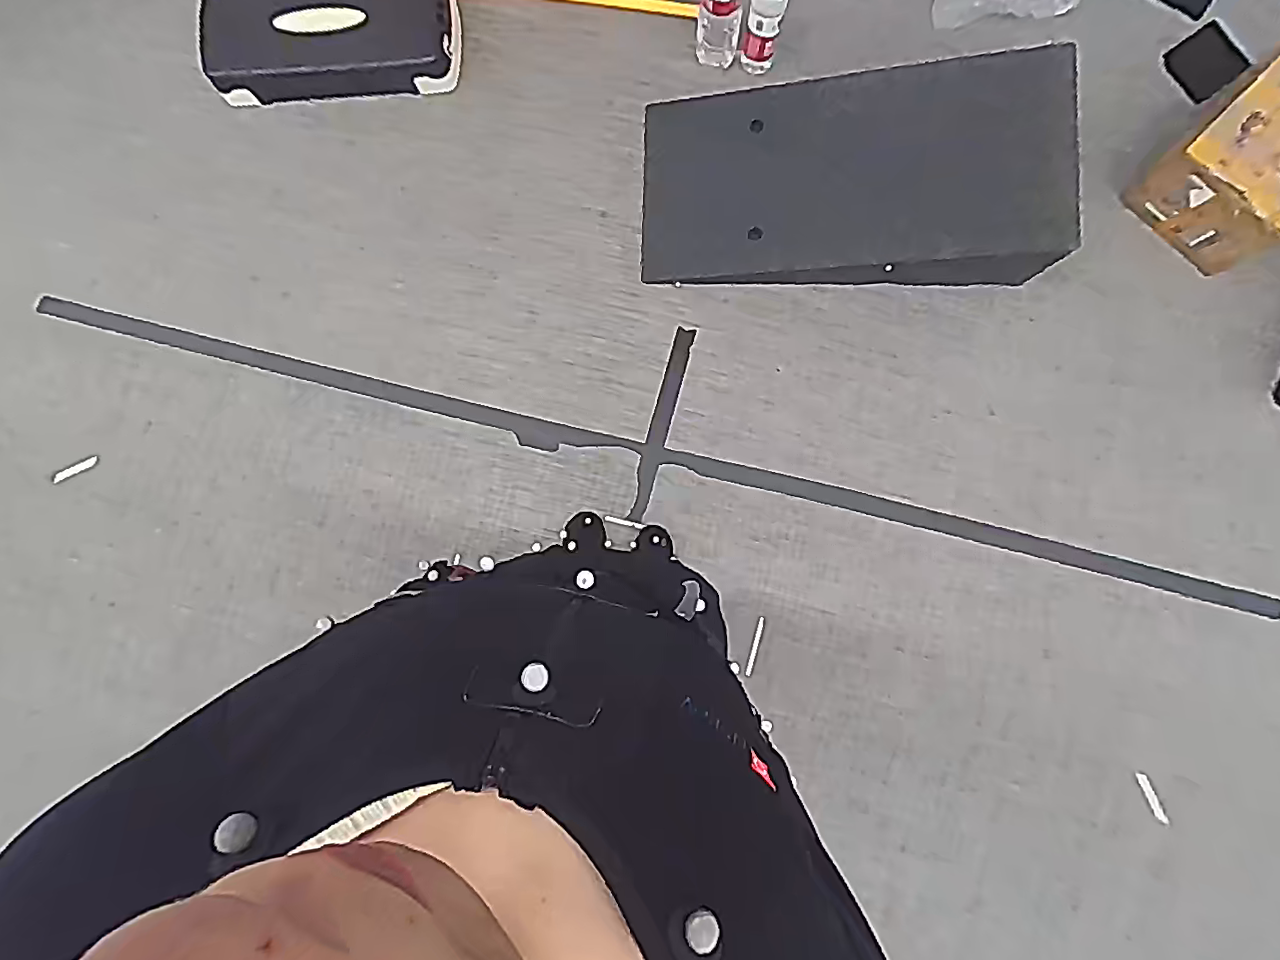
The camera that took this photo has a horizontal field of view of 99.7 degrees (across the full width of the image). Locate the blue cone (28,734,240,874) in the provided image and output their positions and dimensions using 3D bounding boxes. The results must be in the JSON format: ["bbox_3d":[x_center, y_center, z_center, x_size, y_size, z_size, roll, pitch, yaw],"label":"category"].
[{"bbox_3d":[-1.136,0.751,1.220,0.192,0.380,0.193,16,87,4],"label":"blue cone"}]
